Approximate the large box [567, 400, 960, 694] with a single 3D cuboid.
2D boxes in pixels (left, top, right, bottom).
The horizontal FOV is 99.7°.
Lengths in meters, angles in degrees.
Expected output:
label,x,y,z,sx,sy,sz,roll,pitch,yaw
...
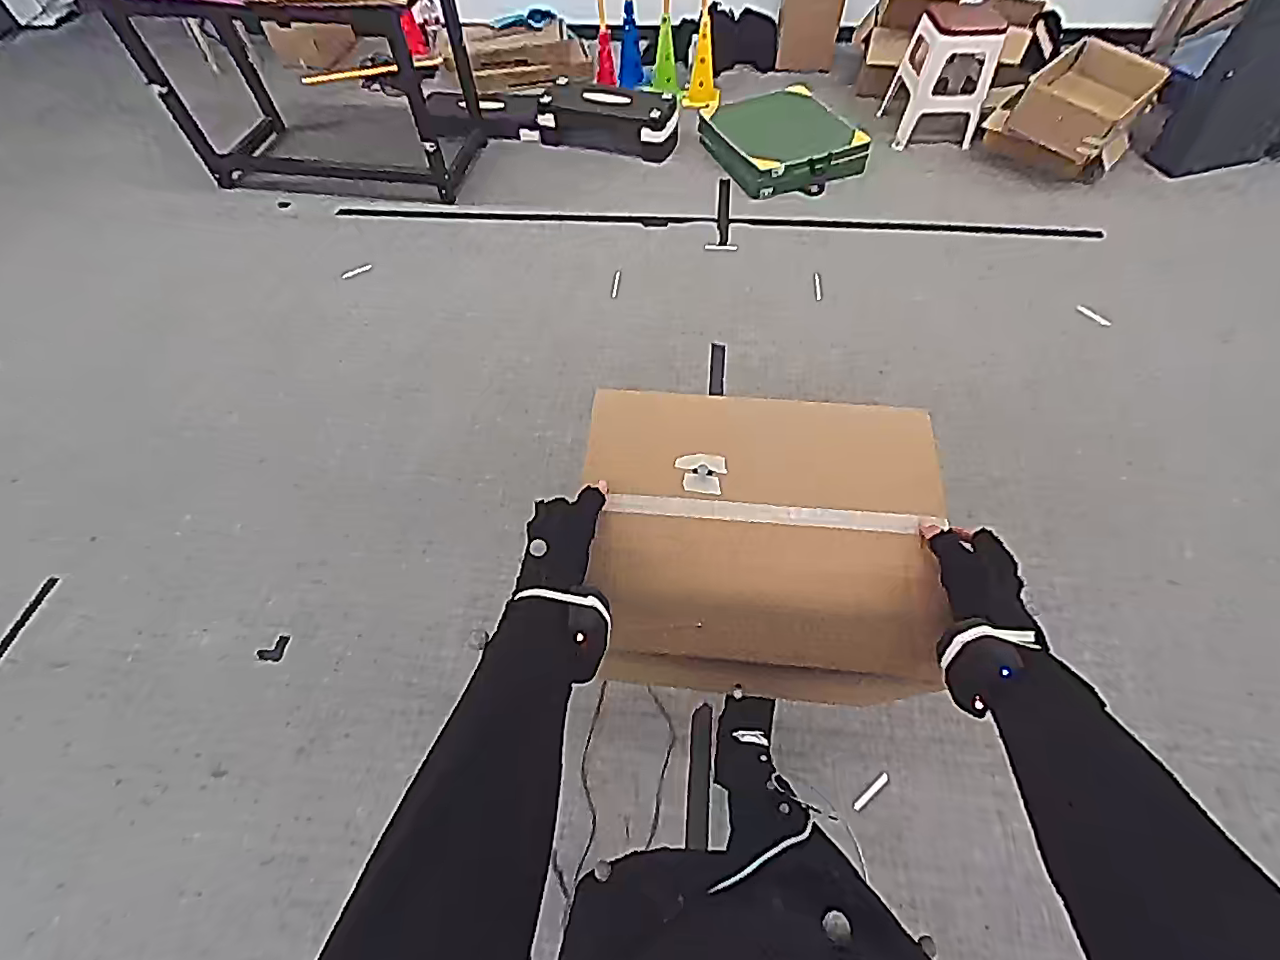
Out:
label,x,y,z,sx,sy,sz,roll,pitch,yaw
large box,0.141,0.109,0.745,0.408,0.320,0.320,4,63,5
